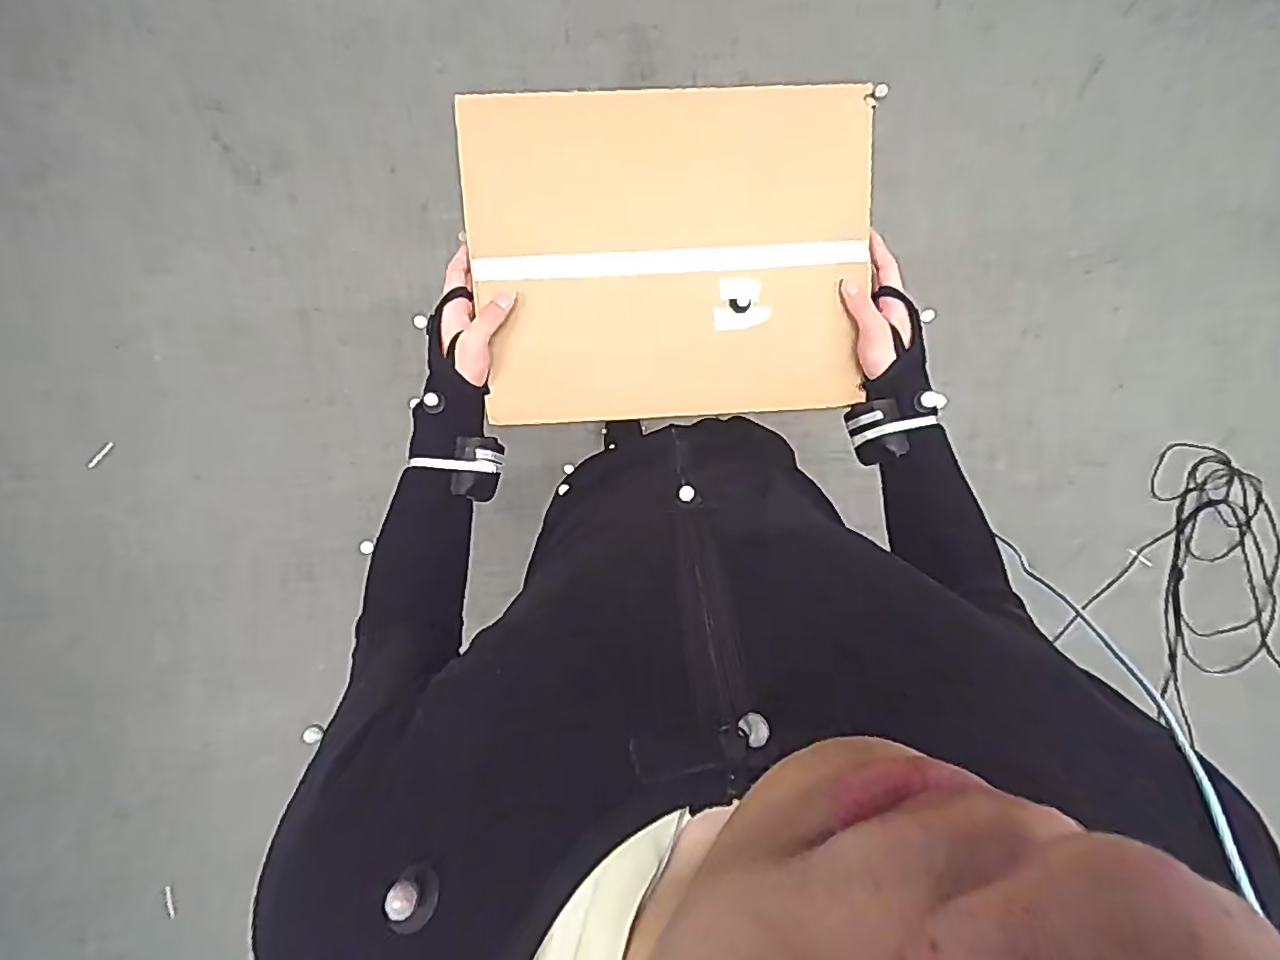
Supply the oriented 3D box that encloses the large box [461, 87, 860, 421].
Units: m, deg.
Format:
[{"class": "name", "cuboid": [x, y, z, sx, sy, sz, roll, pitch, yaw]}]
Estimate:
[{"class": "large box", "cuboid": [0.022, -0.252, 0.704, 0.408, 0.320, 0.320, -4, 100, -3]}]
